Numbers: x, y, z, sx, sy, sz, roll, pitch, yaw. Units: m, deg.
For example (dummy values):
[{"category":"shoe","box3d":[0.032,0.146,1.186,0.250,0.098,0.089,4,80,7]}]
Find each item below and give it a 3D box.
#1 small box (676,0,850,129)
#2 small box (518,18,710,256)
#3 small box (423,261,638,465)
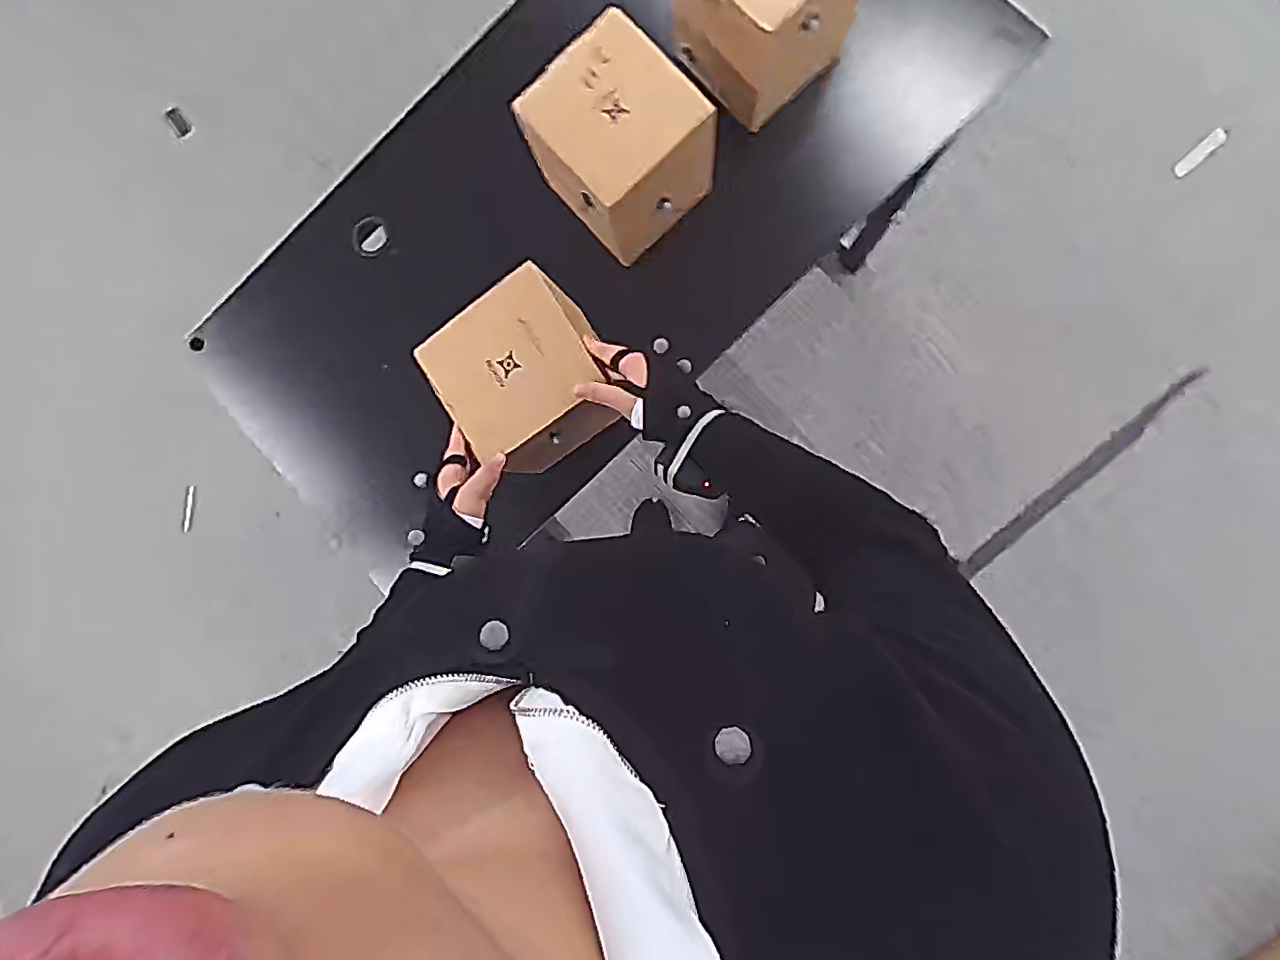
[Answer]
[{"category":"small box","box3d":[0.160,-0.613,0.701,0.179,0.176,0.168,-41,85,3]},{"category":"small box","box3d":[-0.024,-0.428,0.716,0.168,0.176,0.179,-42,85,3]},{"category":"small box","box3d":[-0.125,-0.130,0.683,0.179,0.176,0.168,-34,84,9]}]
